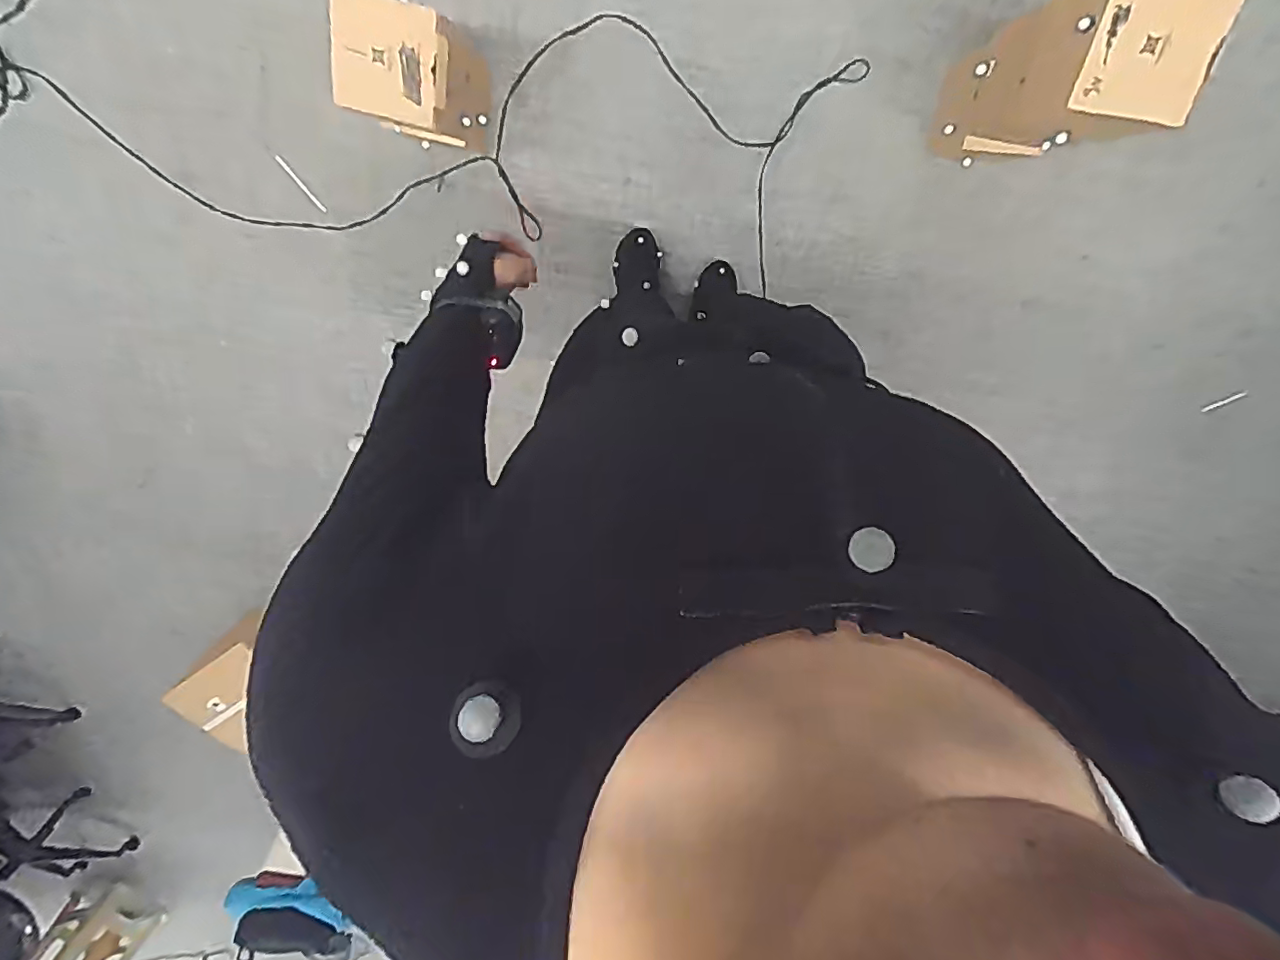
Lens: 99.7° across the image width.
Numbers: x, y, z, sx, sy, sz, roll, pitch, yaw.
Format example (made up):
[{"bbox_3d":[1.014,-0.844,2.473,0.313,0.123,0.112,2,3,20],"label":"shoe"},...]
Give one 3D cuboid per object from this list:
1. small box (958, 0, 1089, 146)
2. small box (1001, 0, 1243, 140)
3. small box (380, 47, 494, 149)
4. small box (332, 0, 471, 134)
[{"bbox_3d":[0.710,-0.701,0.952,0.179,0.176,0.168,9,116,-2],"label":"small box"},{"bbox_3d":[0.699,-0.622,0.808,0.179,0.176,0.168,8,116,-3],"label":"small box"},{"bbox_3d":[-0.410,-0.795,1.109,0.179,0.176,0.168,12,116,-4],"label":"small box"},{"bbox_3d":[-0.413,-0.732,0.957,0.179,0.176,0.168,13,116,-3],"label":"small box"}]
